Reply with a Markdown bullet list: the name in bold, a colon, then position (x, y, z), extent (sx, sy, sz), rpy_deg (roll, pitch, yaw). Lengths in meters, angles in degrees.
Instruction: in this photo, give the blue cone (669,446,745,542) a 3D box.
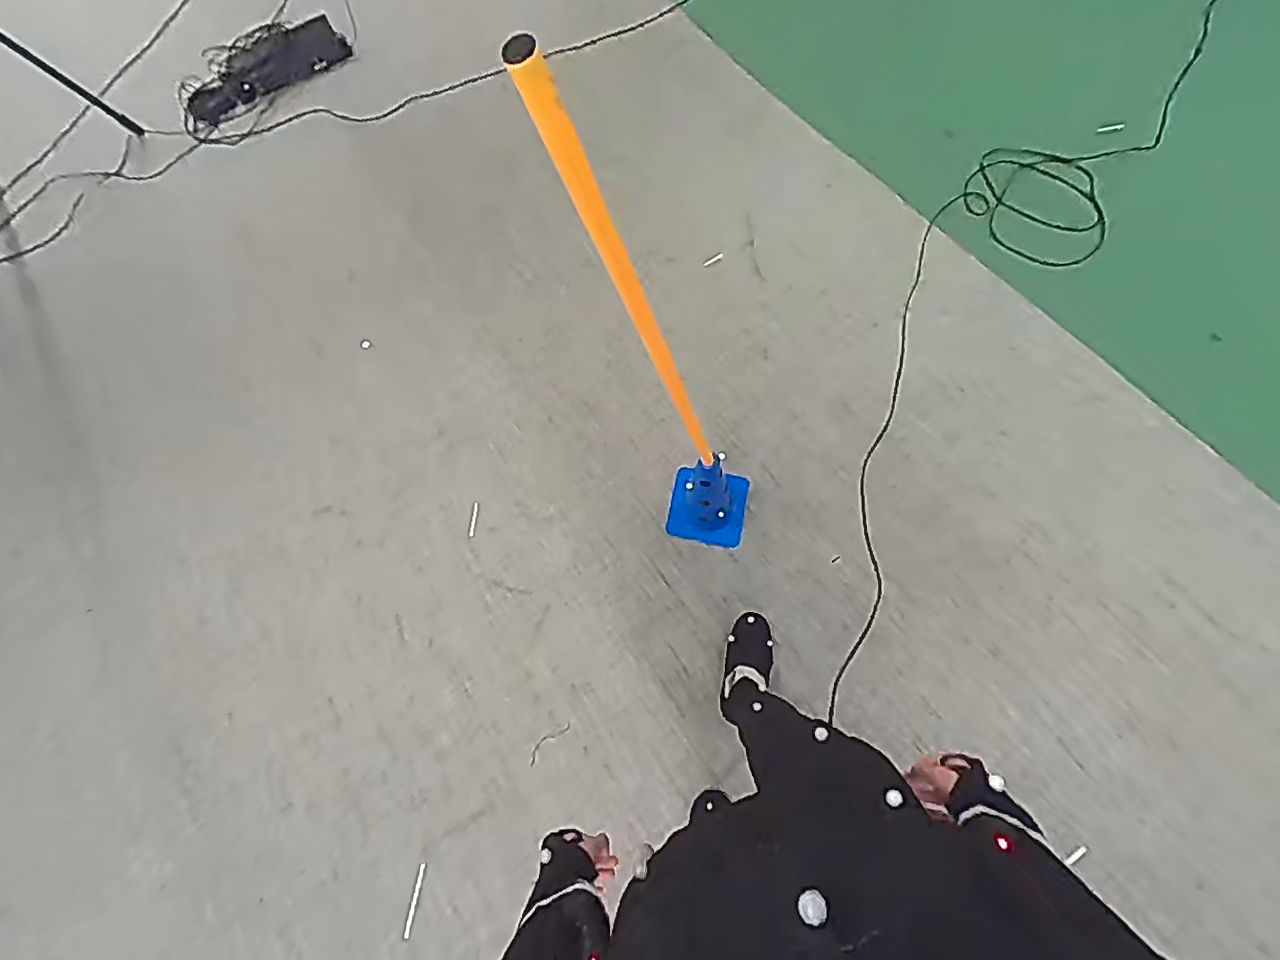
- **blue cone**: position (0.155, 0.013, 1.263), extent (0.193, 0.380, 0.192), rpy_deg (8, 74, 10)
